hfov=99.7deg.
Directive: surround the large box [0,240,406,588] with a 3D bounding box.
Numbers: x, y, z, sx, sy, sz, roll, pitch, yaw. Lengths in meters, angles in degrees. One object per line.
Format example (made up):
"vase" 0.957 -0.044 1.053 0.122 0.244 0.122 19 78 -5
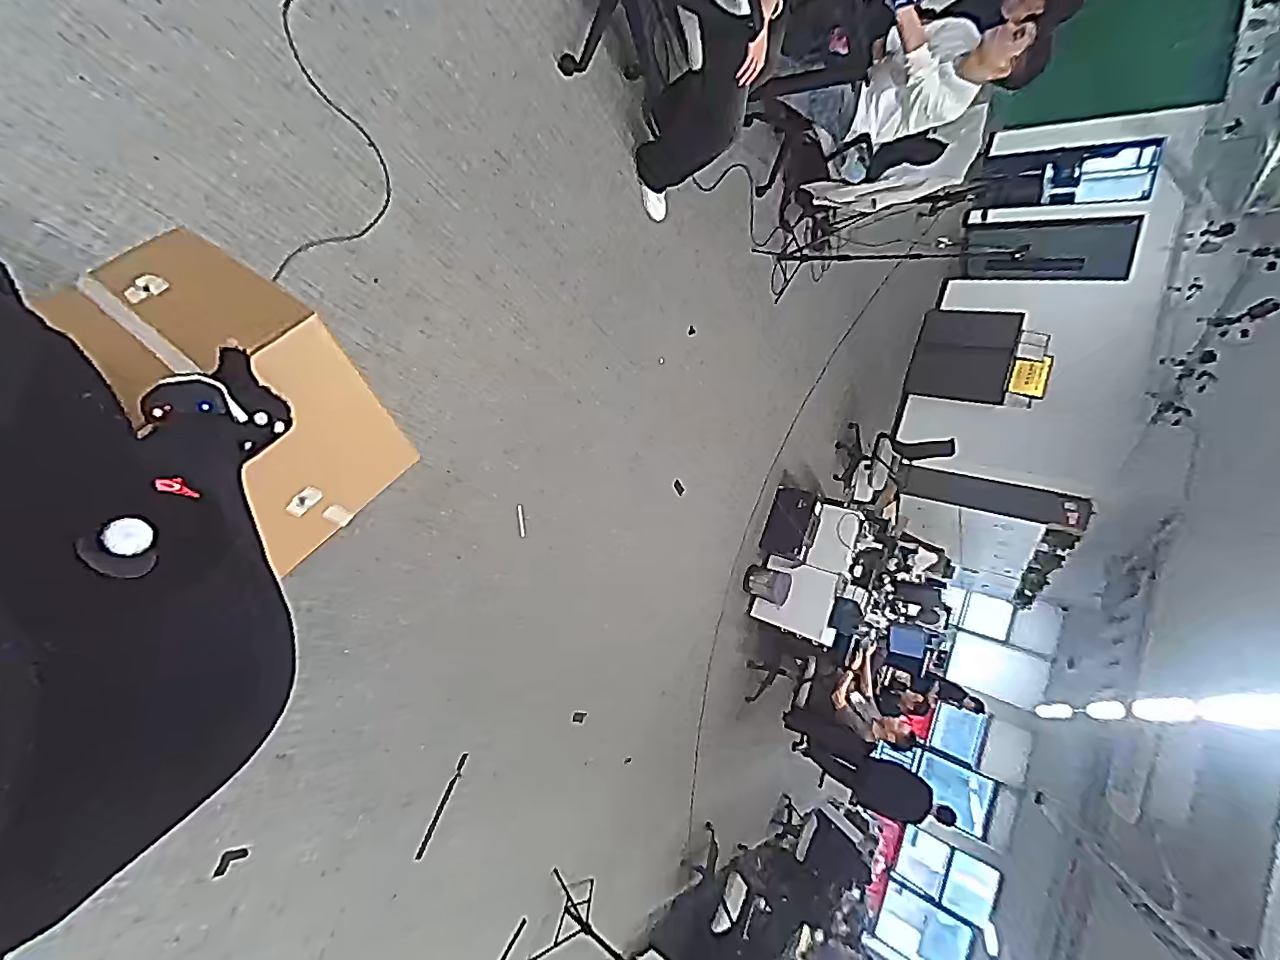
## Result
"large box" -0.660 -0.105 0.836 0.320 0.408 0.320 -48 153 -25
